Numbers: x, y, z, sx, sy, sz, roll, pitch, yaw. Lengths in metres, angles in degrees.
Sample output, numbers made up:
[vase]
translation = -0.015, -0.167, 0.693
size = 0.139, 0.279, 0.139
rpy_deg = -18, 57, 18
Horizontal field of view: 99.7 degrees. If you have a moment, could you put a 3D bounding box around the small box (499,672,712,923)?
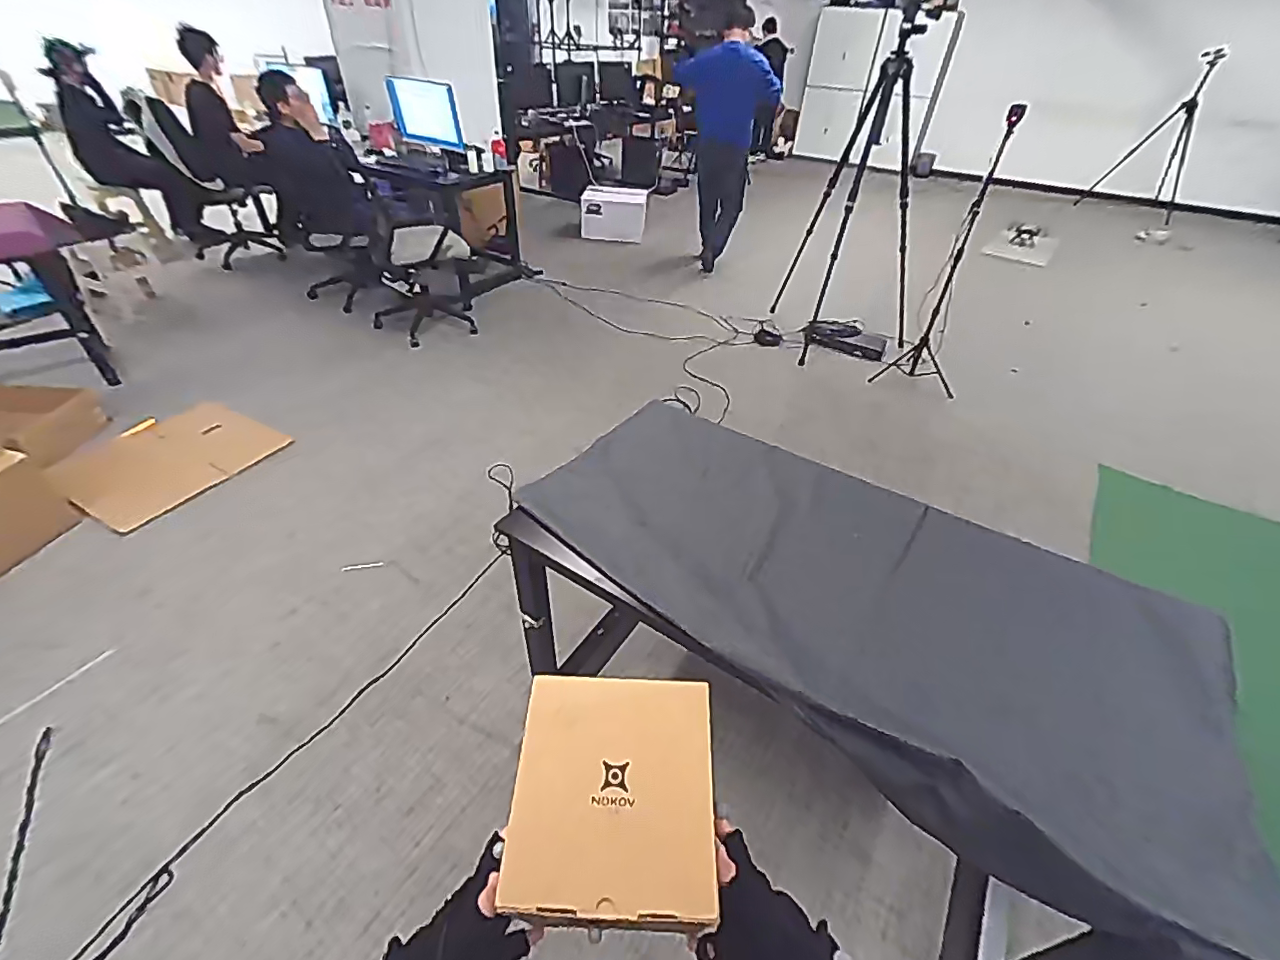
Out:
[small box]
translation = -0.025, 0.306, 0.520
size = 0.168, 0.176, 0.179
rpy_deg = 3, 50, 1
